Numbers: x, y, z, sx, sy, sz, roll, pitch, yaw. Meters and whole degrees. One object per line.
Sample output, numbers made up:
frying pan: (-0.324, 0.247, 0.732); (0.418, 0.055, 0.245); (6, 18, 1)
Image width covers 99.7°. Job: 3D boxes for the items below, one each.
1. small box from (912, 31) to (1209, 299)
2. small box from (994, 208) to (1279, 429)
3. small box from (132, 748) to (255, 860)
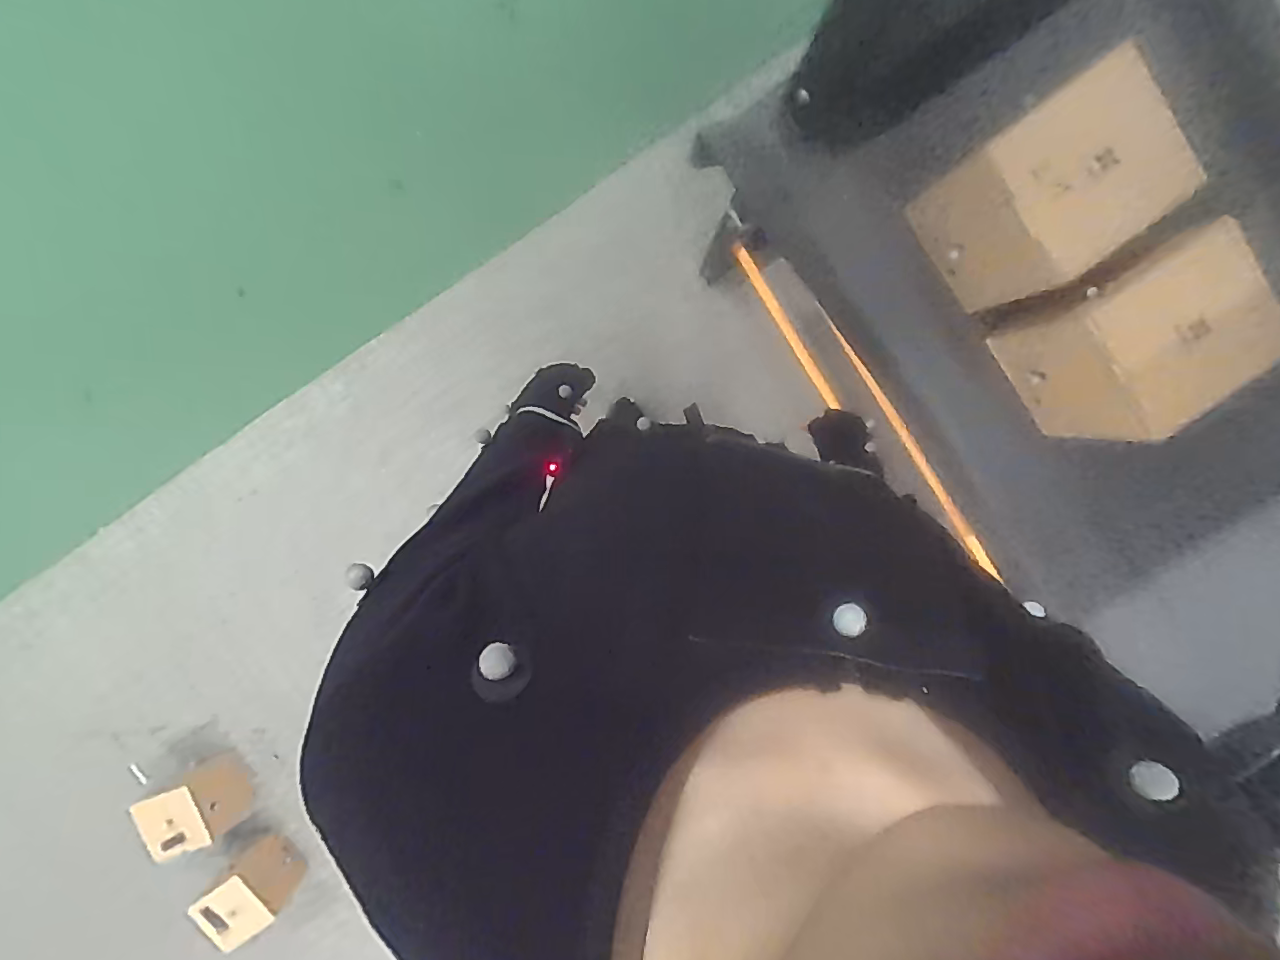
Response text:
small box: (0.461, -0.339, 0.623); (0.179, 0.176, 0.168); (-37, 96, 3)
small box: (0.585, -0.178, 0.649); (0.179, 0.176, 0.168); (-36, 95, 3)
small box: (-1.206, 0.876, 1.477); (0.168, 0.176, 0.179); (-19, 96, 1)
